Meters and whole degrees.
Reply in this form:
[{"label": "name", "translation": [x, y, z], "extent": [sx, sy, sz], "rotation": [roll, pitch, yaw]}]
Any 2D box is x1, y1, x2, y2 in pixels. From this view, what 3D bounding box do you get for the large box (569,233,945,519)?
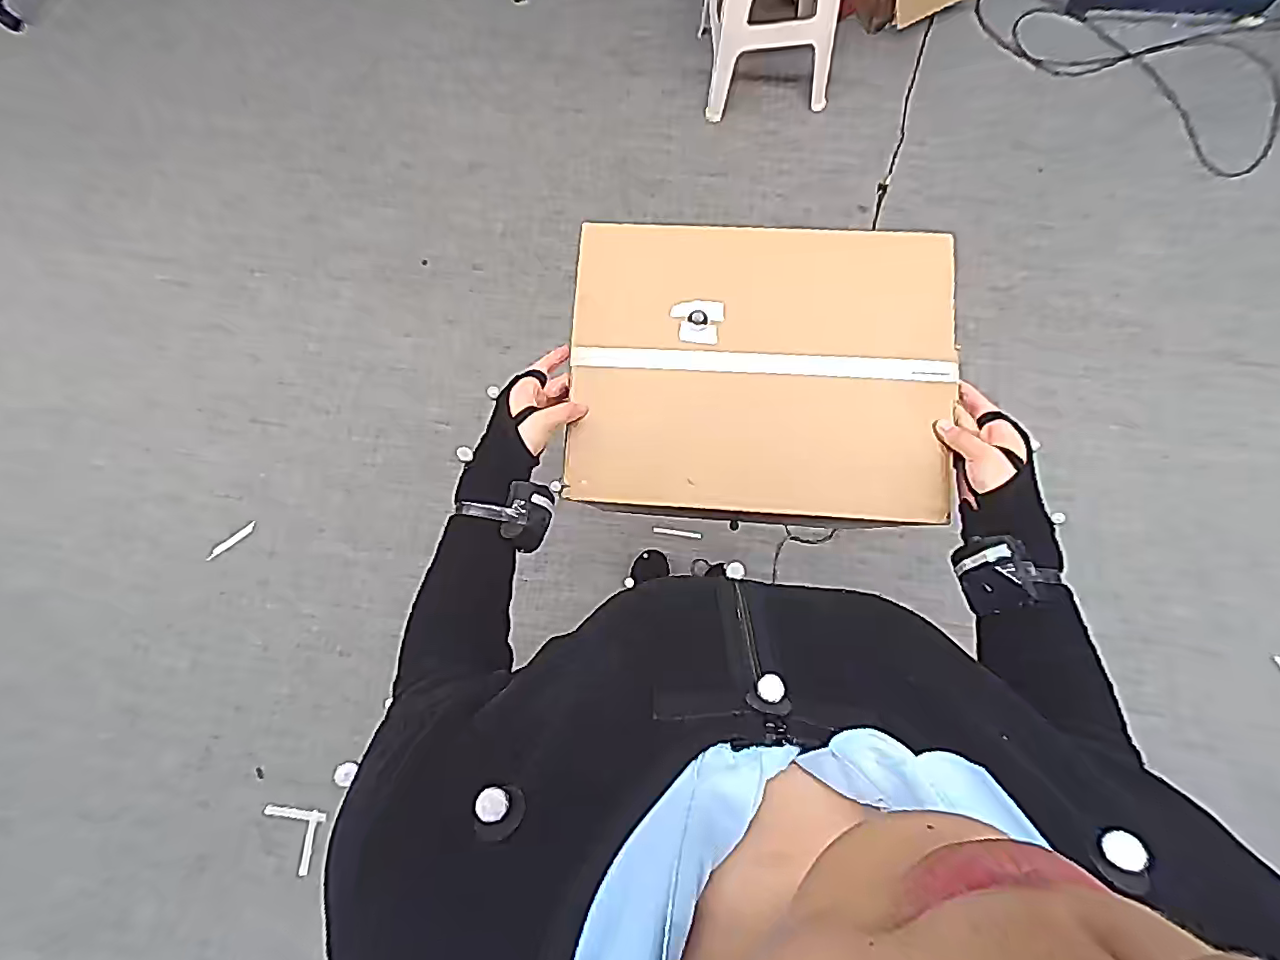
[{"label": "large box", "translation": [0.138, -0.110, 0.739], "extent": [0.408, 0.320, 0.320], "rotation": [3, 83, 4]}]
